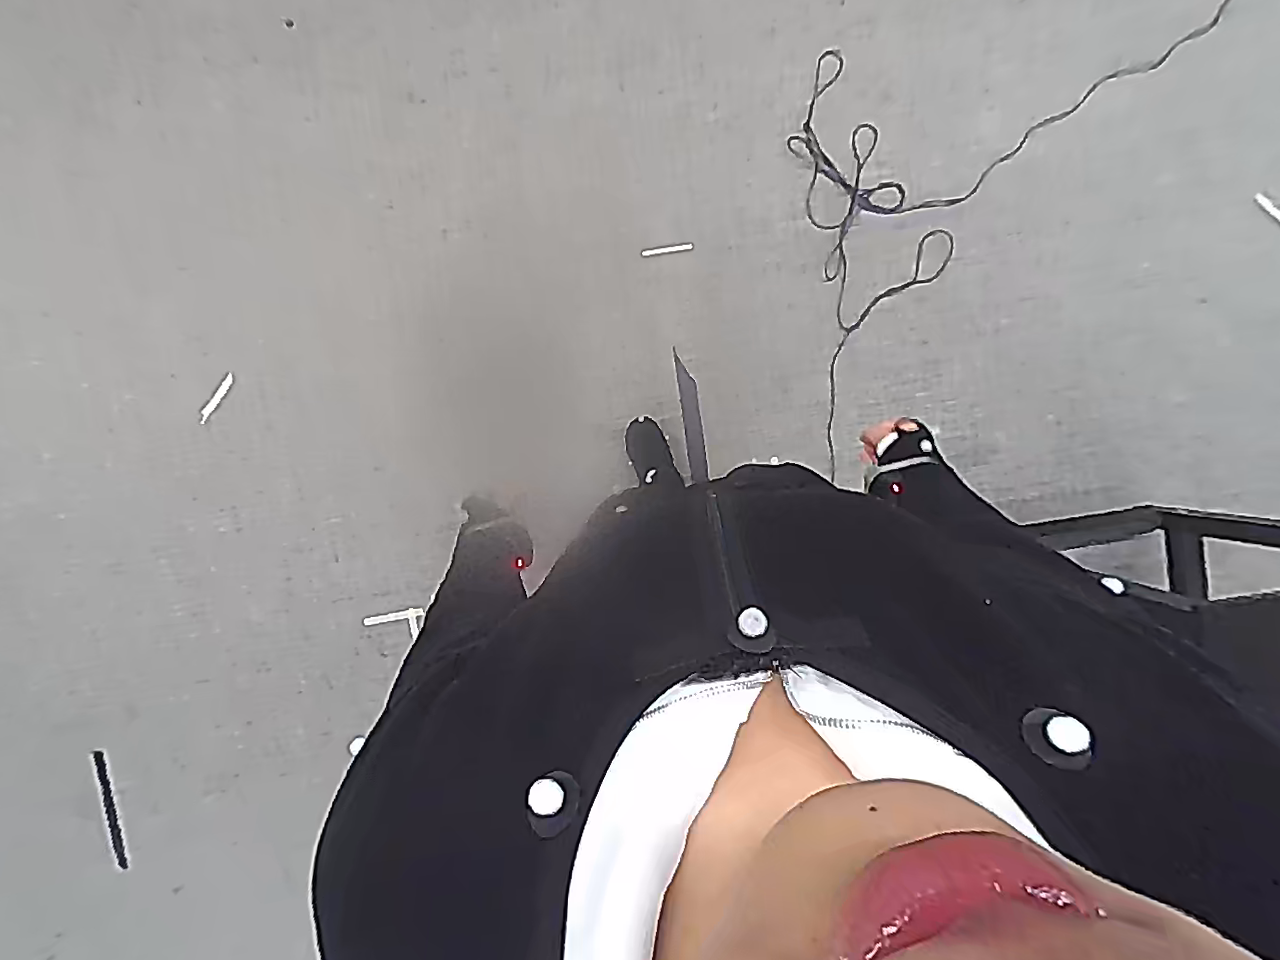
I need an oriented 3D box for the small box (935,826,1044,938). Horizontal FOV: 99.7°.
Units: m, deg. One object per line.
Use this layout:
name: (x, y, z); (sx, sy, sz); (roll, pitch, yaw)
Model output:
small box: (0.928, 1.065, 1.447); (0.179, 0.176, 0.168); (-10, 92, 1)
